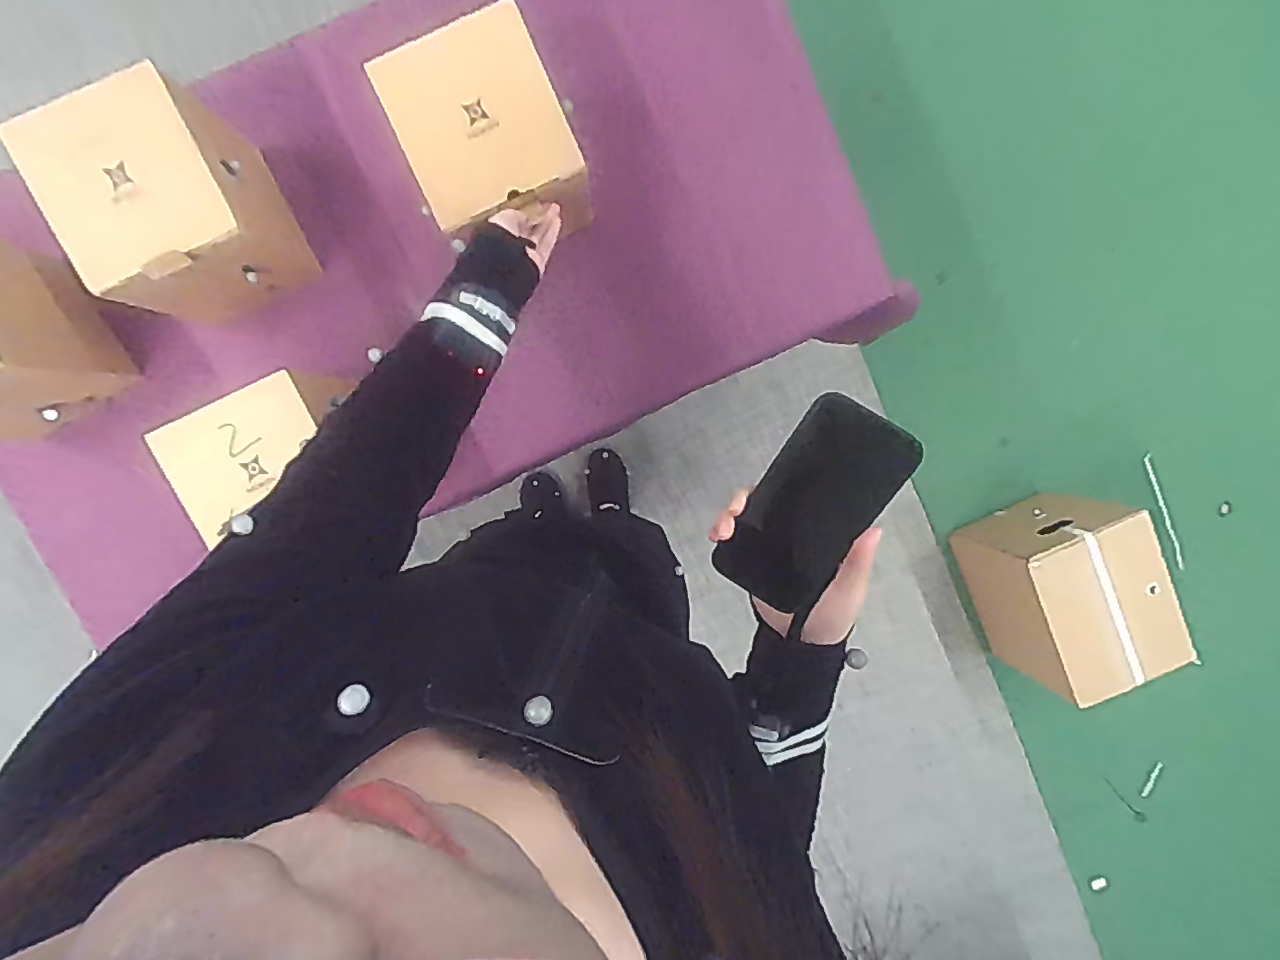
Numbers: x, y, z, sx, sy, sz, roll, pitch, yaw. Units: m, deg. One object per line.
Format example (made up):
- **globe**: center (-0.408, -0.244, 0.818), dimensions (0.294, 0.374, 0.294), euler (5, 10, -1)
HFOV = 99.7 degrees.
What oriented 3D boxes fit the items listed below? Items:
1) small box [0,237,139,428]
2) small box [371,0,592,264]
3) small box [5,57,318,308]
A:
- **small box**: center (-0.755, -0.167, 0.618), dimensions (0.168, 0.176, 0.179), euler (-30, 98, 1)
- **small box**: center (-0.165, -0.381, 0.623), dimensions (0.168, 0.176, 0.179), euler (-24, 99, 0)
- **small box**: center (-0.513, -0.312, 0.615), dimensions (0.168, 0.176, 0.179), euler (-24, 98, -1)
